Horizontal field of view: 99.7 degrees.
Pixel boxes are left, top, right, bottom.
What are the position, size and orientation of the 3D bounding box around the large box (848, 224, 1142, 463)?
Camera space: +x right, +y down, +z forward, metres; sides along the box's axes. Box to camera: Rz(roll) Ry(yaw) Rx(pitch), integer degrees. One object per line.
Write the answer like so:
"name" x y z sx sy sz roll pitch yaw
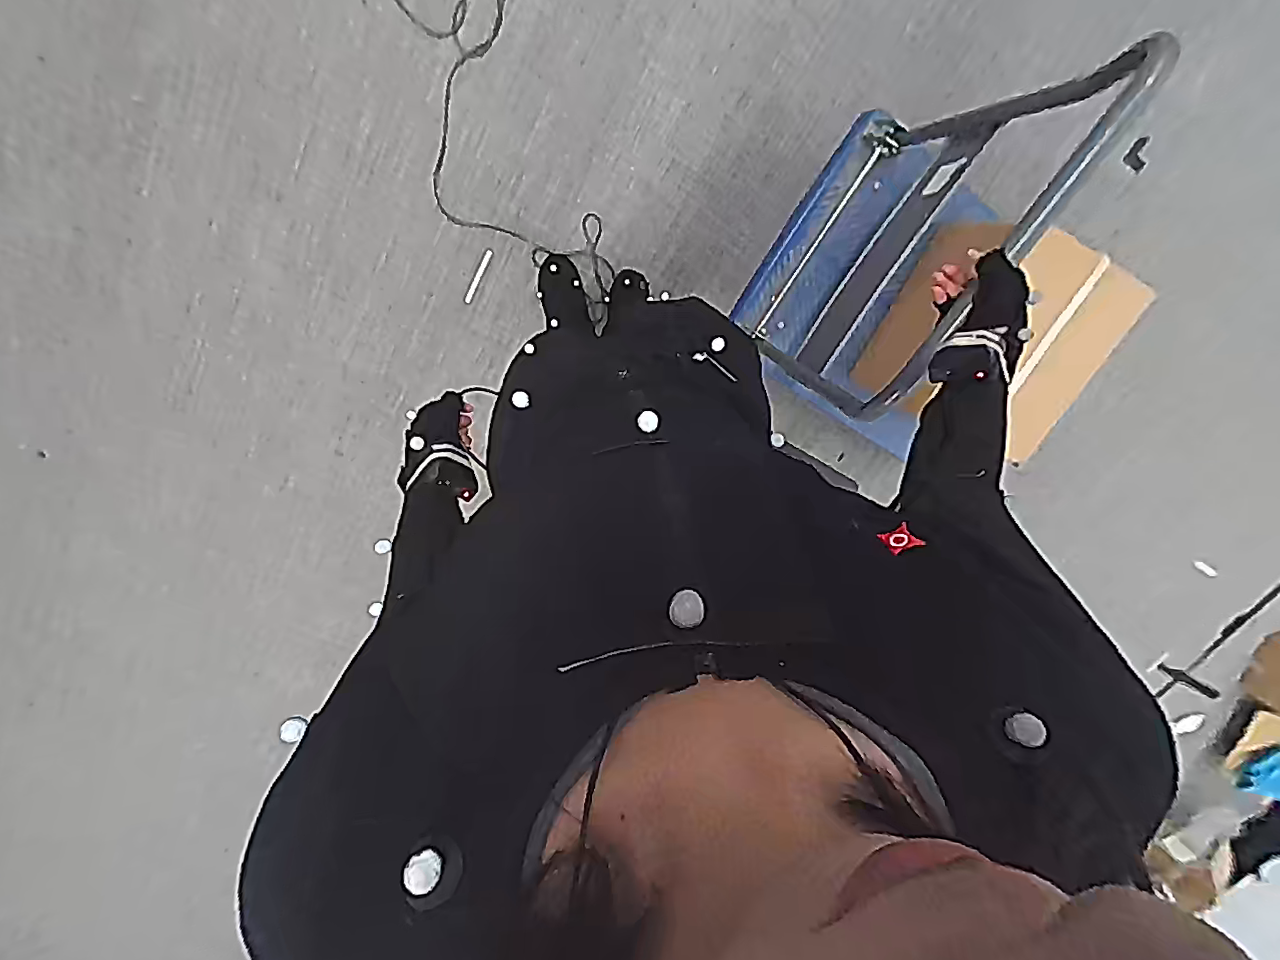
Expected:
"large box" 0.761 -0.316 1.225 0.320 0.320 0.408 20 112 -16
